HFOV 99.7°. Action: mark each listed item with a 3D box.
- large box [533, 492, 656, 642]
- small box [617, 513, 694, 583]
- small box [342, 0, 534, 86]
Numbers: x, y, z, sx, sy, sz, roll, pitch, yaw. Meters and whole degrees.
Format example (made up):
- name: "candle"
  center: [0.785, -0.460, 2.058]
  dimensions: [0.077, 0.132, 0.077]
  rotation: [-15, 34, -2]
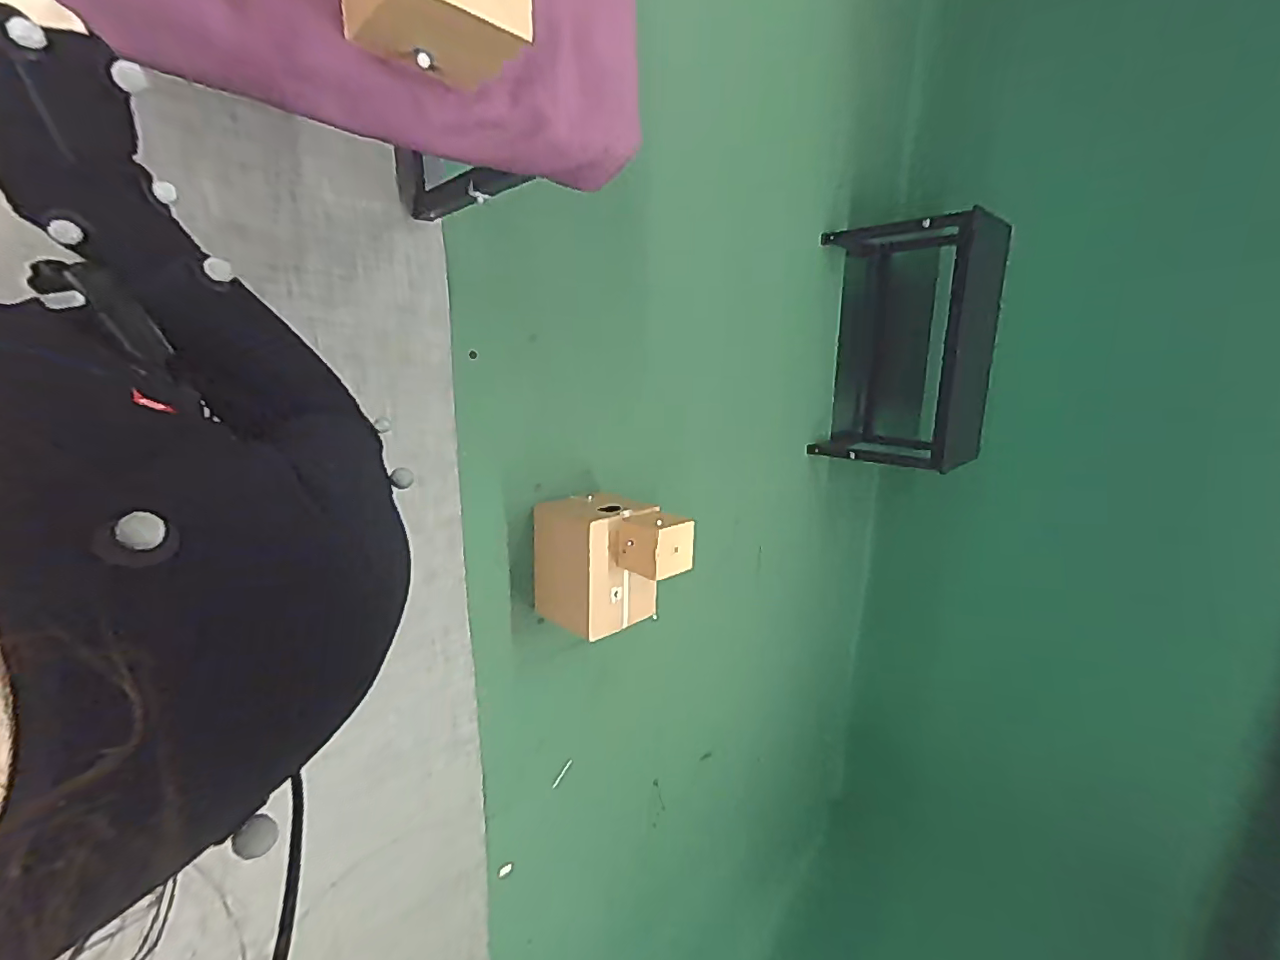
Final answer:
- name: "large box"
  center: [-0.161, 0.281, 1.885]
  dimensions: [0.320, 0.320, 0.408]
  rotation: [-10, 107, -43]
- name: "small box"
  center: [0.050, 0.209, 1.731]
  dimensions: [0.179, 0.176, 0.168]
  rotation: [-10, 107, -44]
- name: "small box"
  center: [-0.244, -0.616, 0.639]
  dimensions: [0.168, 0.176, 0.179]
  rotation: [-12, 107, -43]
